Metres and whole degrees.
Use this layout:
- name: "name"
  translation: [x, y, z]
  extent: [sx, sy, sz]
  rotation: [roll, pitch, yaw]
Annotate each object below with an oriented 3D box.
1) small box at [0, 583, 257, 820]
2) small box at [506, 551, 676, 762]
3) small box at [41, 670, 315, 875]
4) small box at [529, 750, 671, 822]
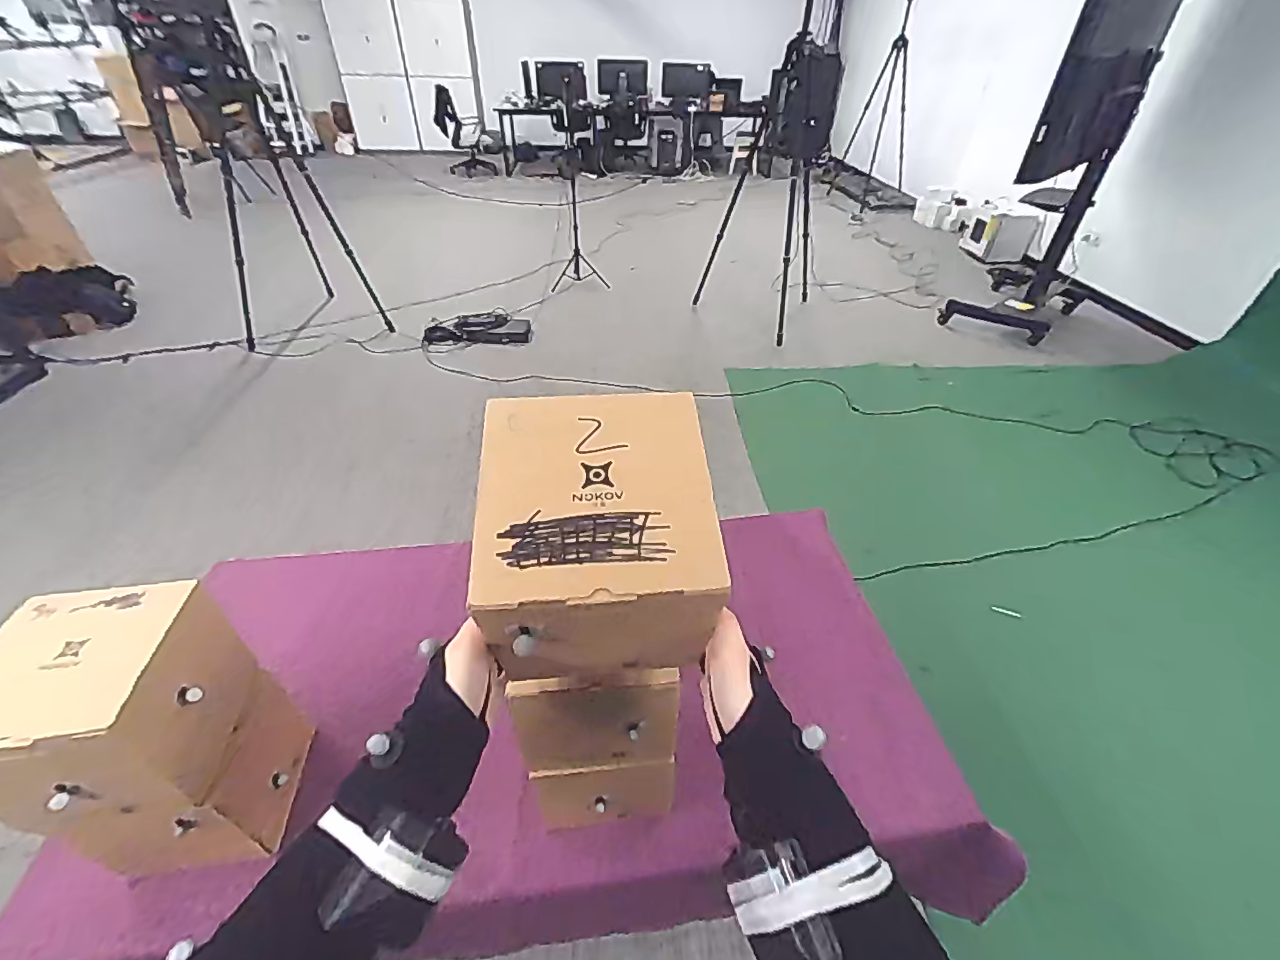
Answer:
- name: "small box"
  translation: [-0.555, 0.238, 0.580]
  extent: [0.168, 0.176, 0.179]
  rotation: [-5, 40, -8]
- name: "small box"
  translation: [-0.049, 0.205, 0.623]
  extent: [0.168, 0.176, 0.179]
  rotation: [-2, 39, -3]
- name: "small box"
  translation: [-0.551, 0.368, 0.682]
  extent: [0.179, 0.176, 0.168]
  rotation: [-5, 39, -8]
- name: "small box"
  translation: [-0.050, 0.334, 0.723]
  extent: [0.168, 0.176, 0.179]
  rotation: [-3, 39, -5]
